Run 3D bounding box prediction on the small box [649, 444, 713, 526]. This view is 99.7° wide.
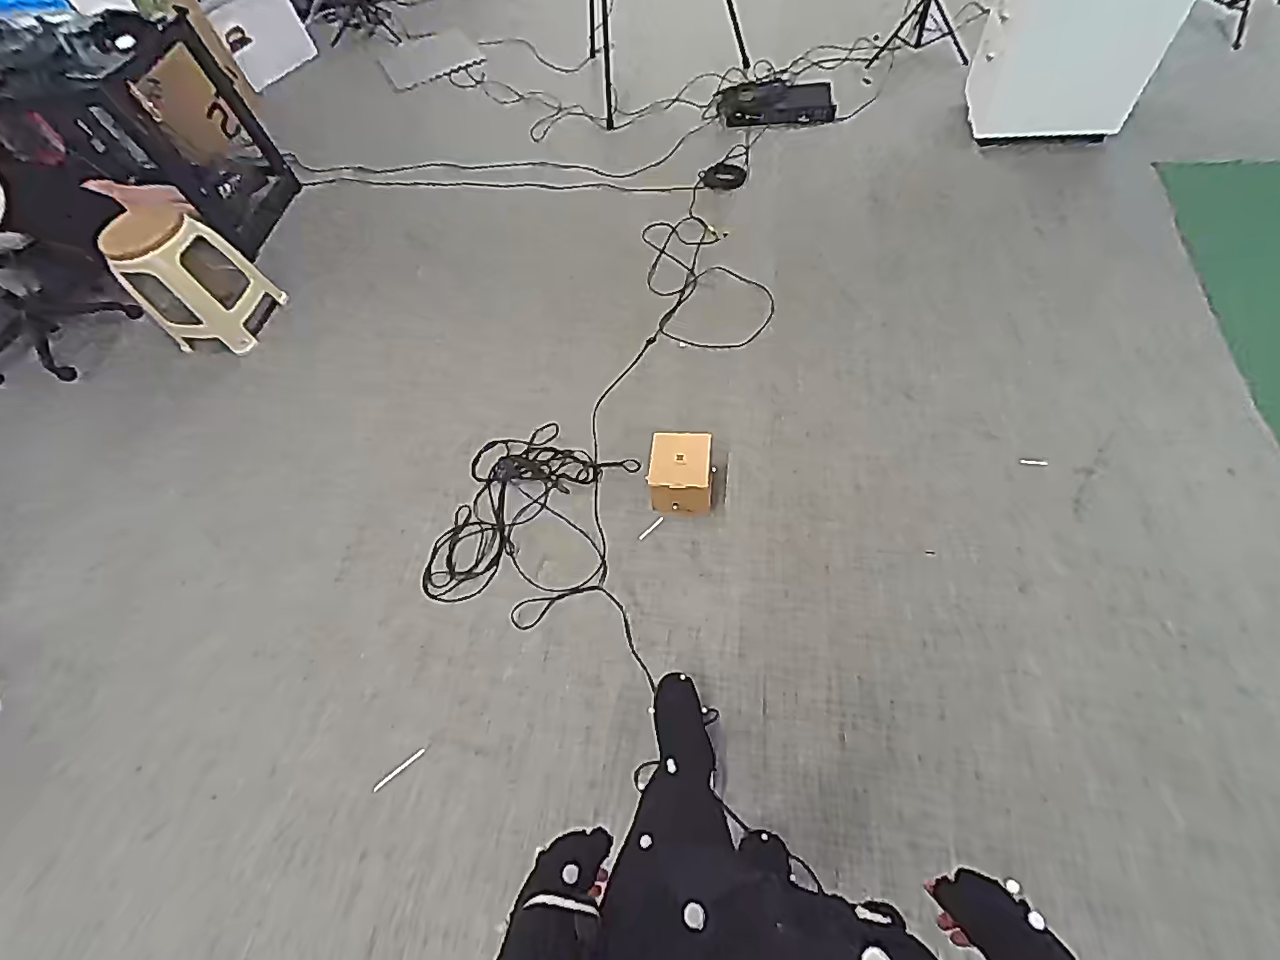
[{"bbox_3d":[0.124,0.014,1.564,0.168,0.176,0.179,2,60,11],"label":"small box"}]
